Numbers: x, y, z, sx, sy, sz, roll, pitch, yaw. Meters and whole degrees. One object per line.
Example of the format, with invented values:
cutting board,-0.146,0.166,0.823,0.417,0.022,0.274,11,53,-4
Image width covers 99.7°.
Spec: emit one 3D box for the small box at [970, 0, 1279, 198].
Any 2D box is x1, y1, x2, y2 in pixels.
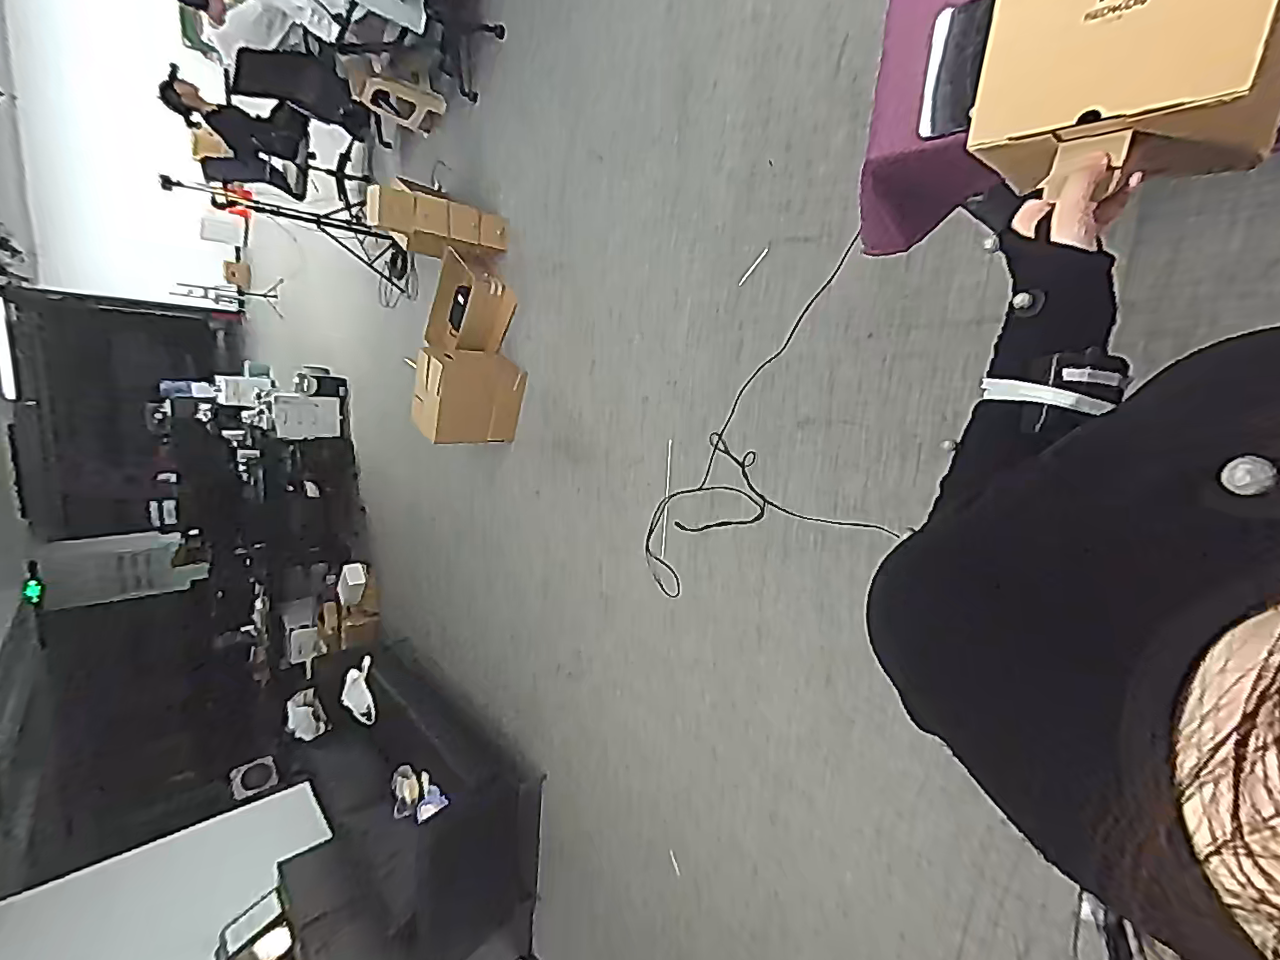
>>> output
small box,0.398,-0.347,0.428,0.168,0.176,0.179,21,111,47
